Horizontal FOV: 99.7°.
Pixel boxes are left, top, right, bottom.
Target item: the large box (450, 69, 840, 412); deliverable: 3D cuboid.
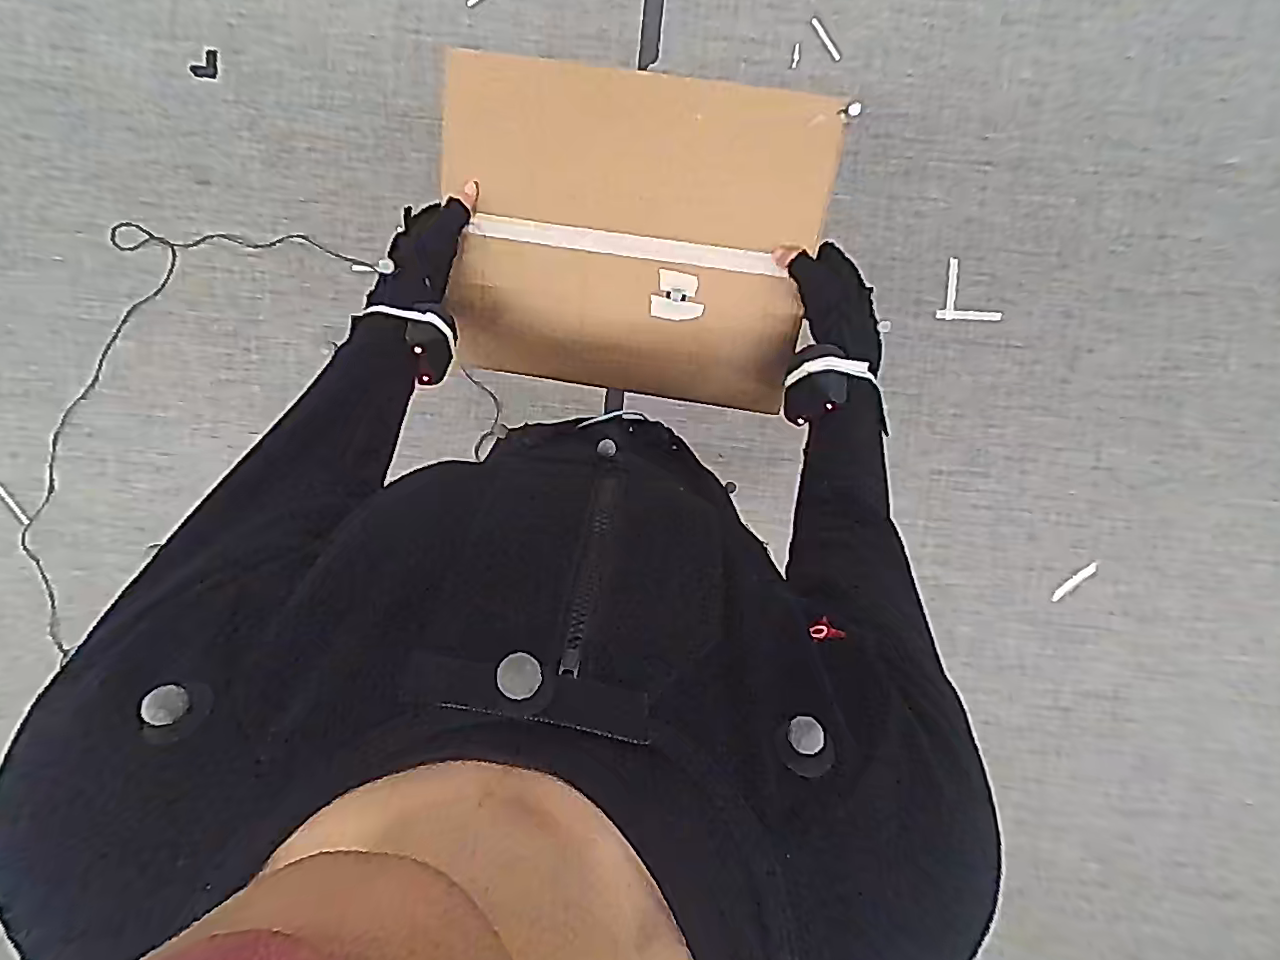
[{"bbox_3d":[-0.003,-0.297,0.737,0.408,0.320,0.320,9,110,2],"label":"large box"}]
